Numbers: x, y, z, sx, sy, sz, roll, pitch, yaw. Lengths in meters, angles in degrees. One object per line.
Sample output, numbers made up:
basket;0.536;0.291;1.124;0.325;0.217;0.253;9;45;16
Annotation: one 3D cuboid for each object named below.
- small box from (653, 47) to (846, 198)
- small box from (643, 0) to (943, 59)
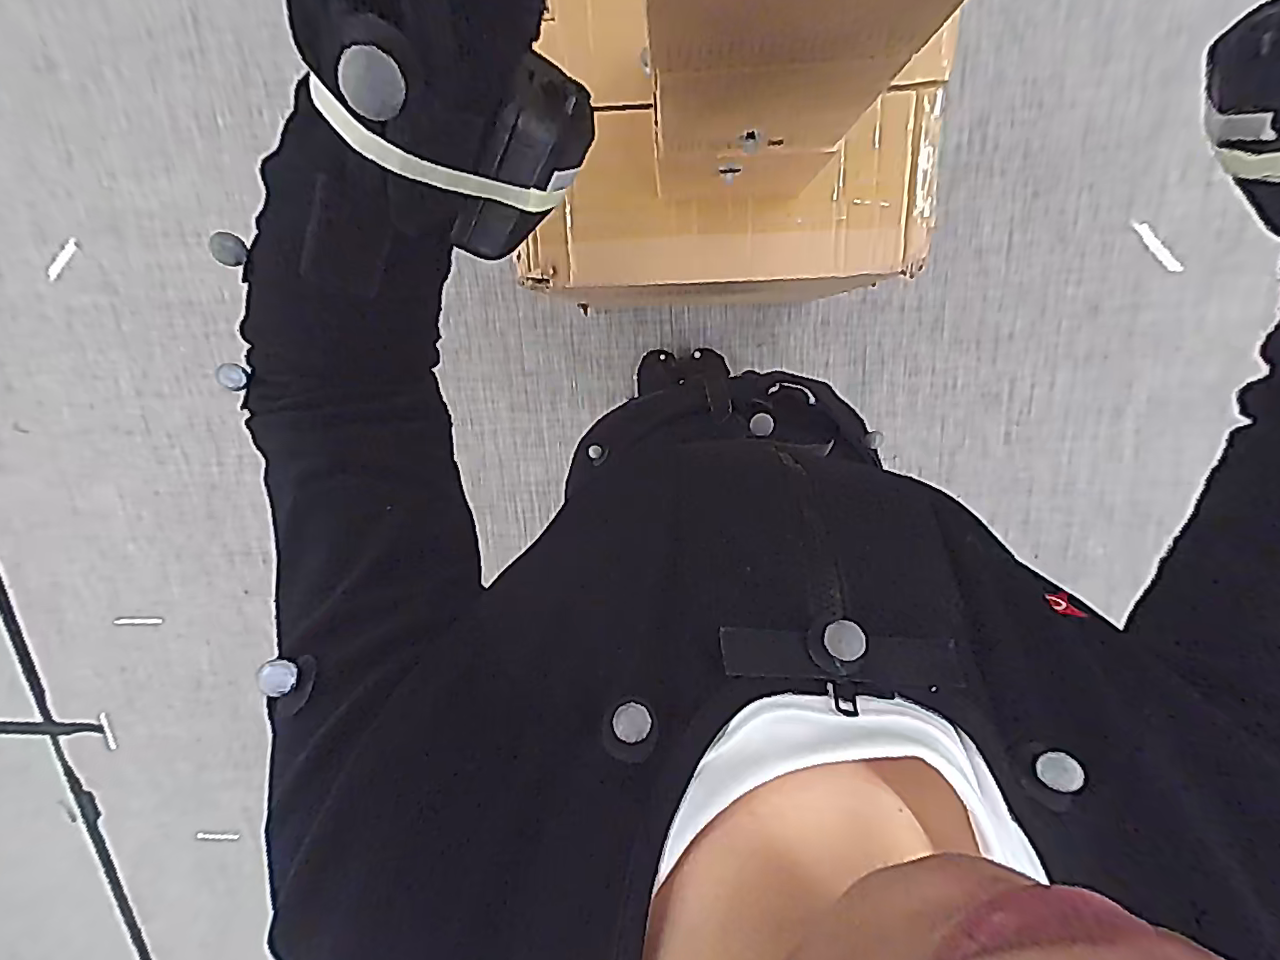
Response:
small box;0.104;-0.408;0.569;0.179;0.176;0.168;-1;105;3
small box;0.086;-0.331;0.250;0.179;0.176;0.168;-1;105;4
